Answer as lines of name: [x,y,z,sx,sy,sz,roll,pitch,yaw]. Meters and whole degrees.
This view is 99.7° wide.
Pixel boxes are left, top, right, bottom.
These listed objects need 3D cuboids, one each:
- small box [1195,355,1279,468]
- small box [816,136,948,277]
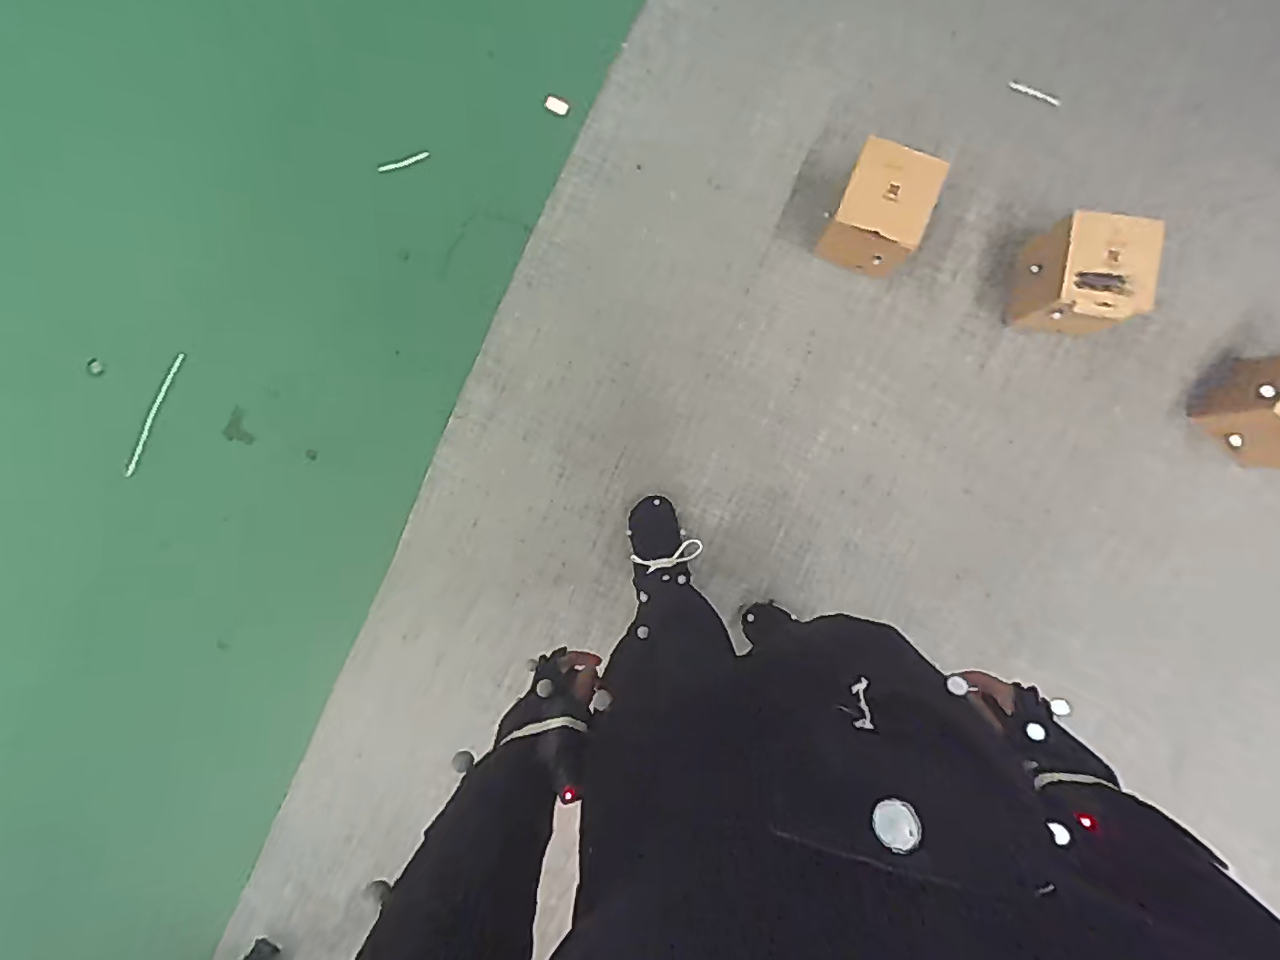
small box: [1.278,-0.140,1.062,0.168,0.176,0.179,43,93,2]
small box: [0.478,-0.544,1.101,0.168,0.176,0.179,21,90,2]
